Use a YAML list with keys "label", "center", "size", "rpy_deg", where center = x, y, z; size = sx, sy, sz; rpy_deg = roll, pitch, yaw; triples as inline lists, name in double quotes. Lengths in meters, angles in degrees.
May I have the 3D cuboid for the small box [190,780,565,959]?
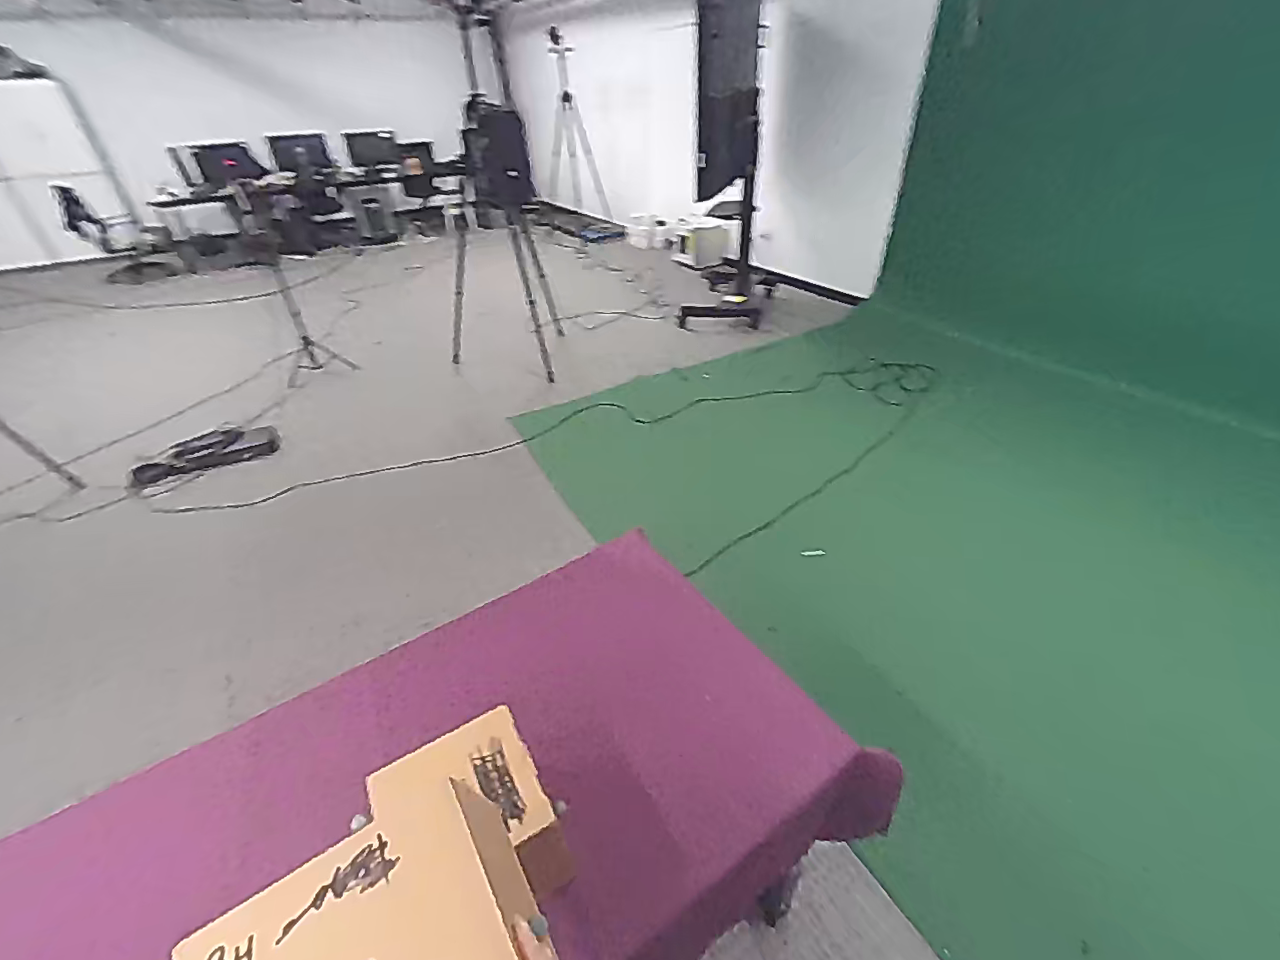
- label: "small box"
  center: [-0.149, 0.337, 0.362]
  size: [0.168, 0.176, 0.179]
  rpy_deg: [-25, 59, -19]
